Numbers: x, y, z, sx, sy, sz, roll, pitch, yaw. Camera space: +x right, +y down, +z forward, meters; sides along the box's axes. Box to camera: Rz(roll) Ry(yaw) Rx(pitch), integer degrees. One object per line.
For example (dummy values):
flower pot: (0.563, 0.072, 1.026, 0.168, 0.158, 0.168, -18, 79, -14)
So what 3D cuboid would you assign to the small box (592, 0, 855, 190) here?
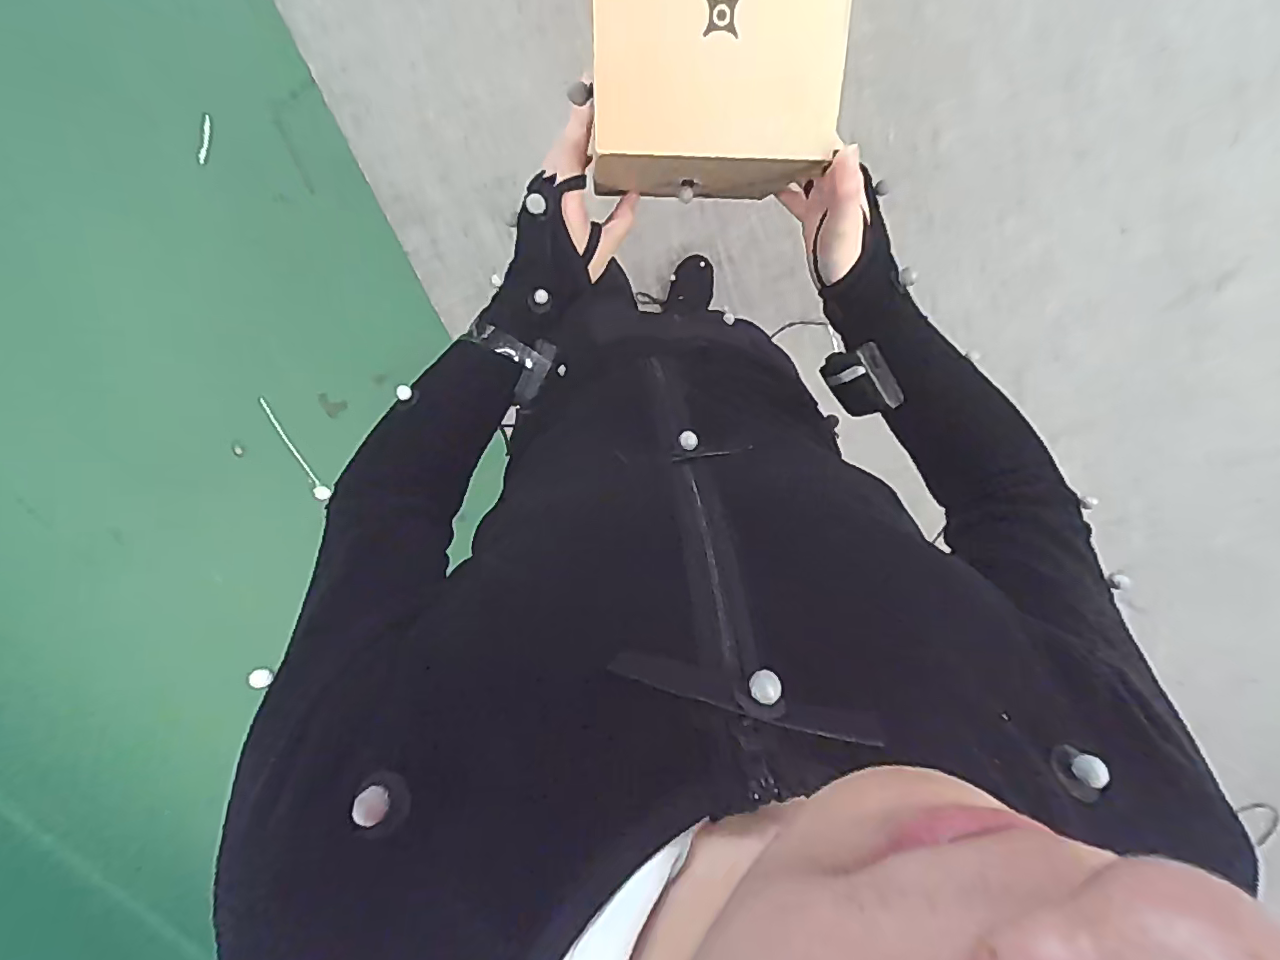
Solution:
small box: (0.048, -0.330, 0.408, 0.168, 0.176, 0.179, -1, 108, -5)
